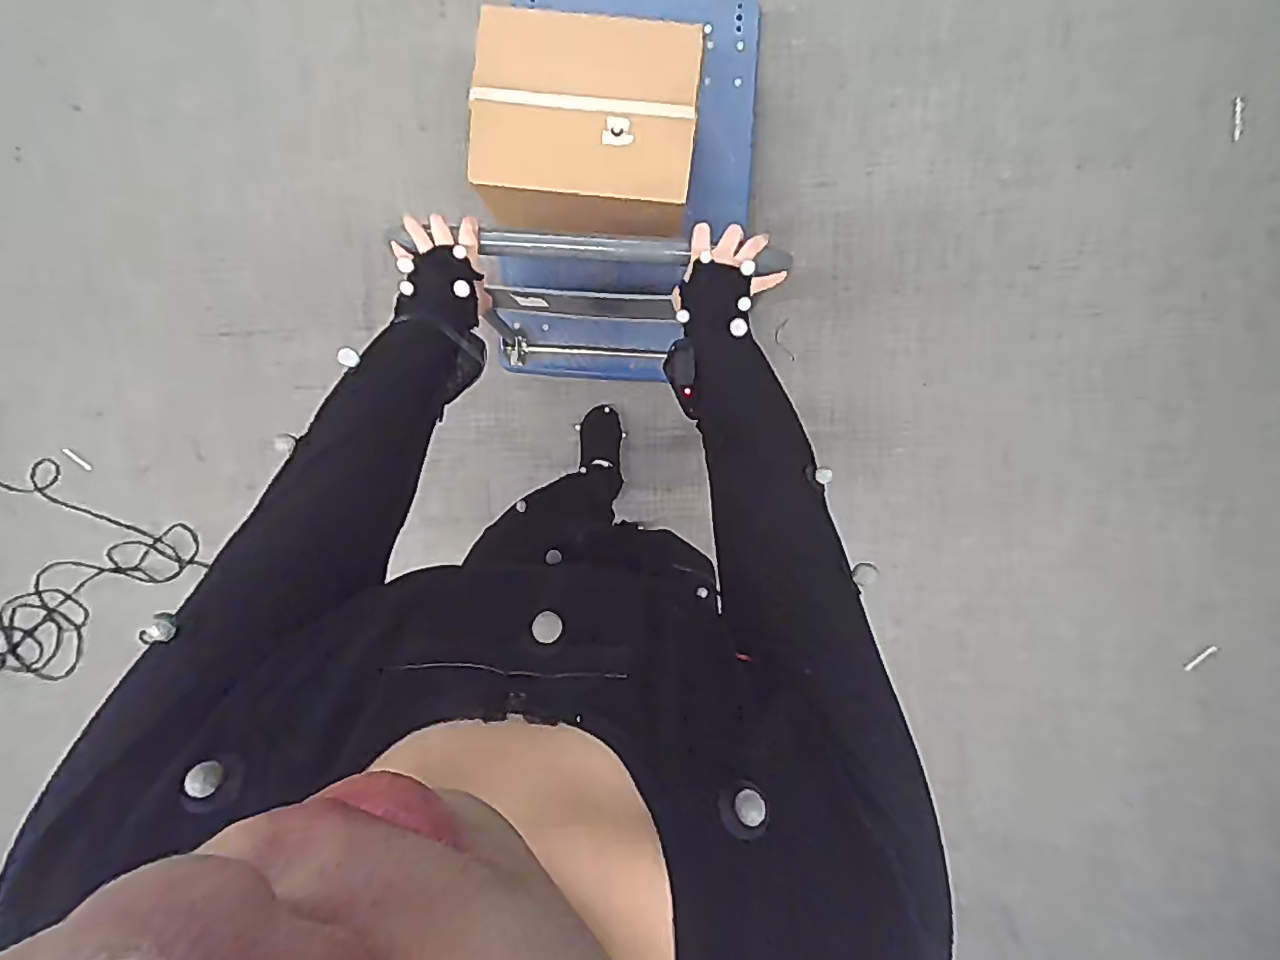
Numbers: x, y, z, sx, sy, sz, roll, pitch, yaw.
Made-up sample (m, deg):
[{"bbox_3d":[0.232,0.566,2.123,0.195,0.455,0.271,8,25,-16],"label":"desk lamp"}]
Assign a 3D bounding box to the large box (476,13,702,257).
[{"bbox_3d":[-0.097,-0.694,1.143,0.408,0.320,0.320,6,93,0],"label":"large box"}]
